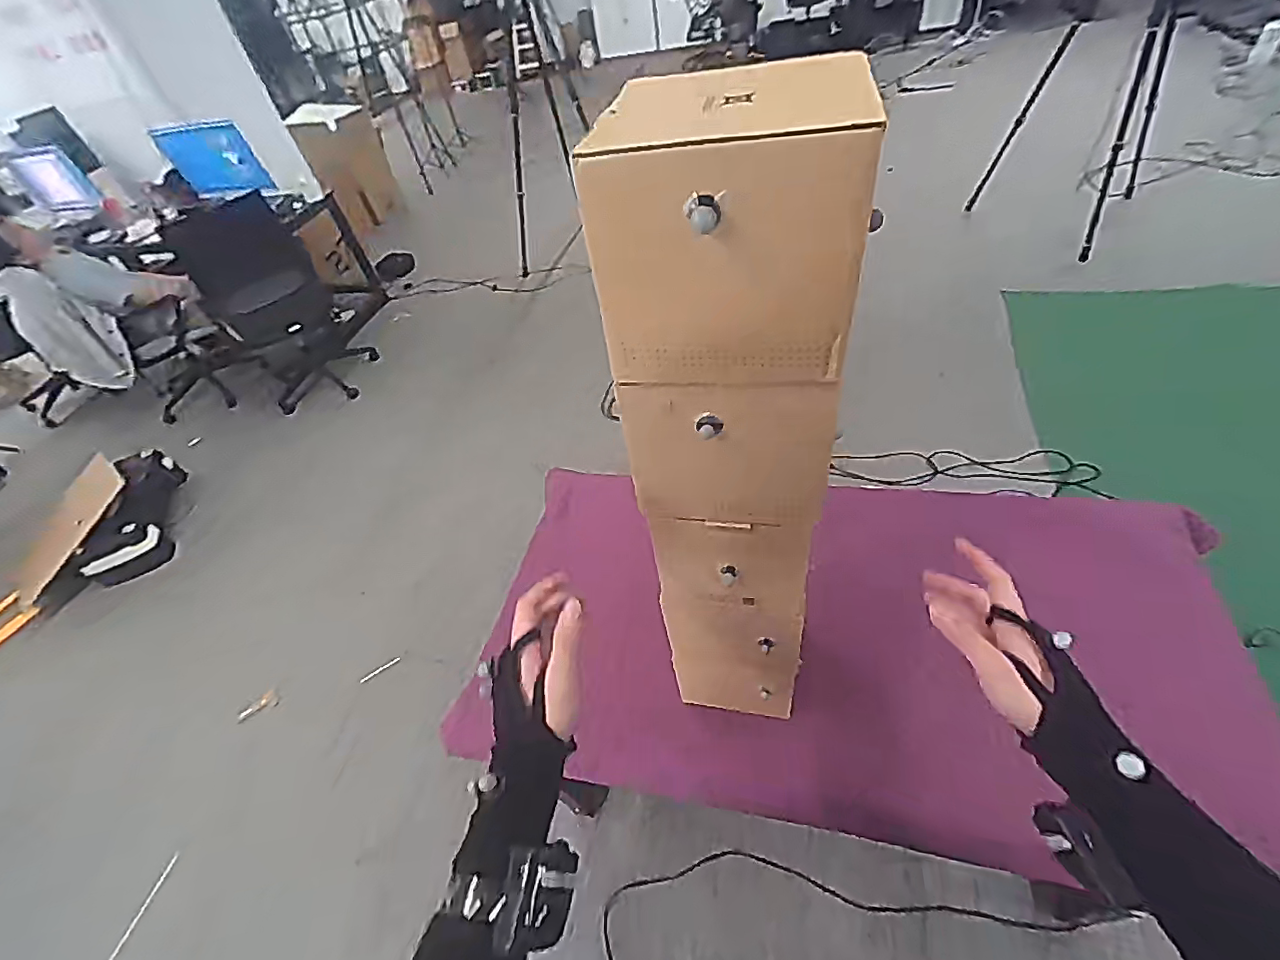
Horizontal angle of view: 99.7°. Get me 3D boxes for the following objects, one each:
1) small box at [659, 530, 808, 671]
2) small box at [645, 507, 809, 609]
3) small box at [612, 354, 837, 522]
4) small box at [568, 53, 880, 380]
[{"bbox_3d":[0.136,0.149,0.756,0.179,0.176,0.168,3,48,15],"label":"small box"},{"bbox_3d":[0.112,0.034,0.643,0.168,0.176,0.179,3,48,14],"label":"small box"},{"bbox_3d":[0.088,-0.075,0.523,0.179,0.176,0.168,3,48,13],"label":"small box"},{"bbox_3d":[0.068,-0.188,0.408,0.179,0.176,0.168,2,48,14],"label":"small box"}]
